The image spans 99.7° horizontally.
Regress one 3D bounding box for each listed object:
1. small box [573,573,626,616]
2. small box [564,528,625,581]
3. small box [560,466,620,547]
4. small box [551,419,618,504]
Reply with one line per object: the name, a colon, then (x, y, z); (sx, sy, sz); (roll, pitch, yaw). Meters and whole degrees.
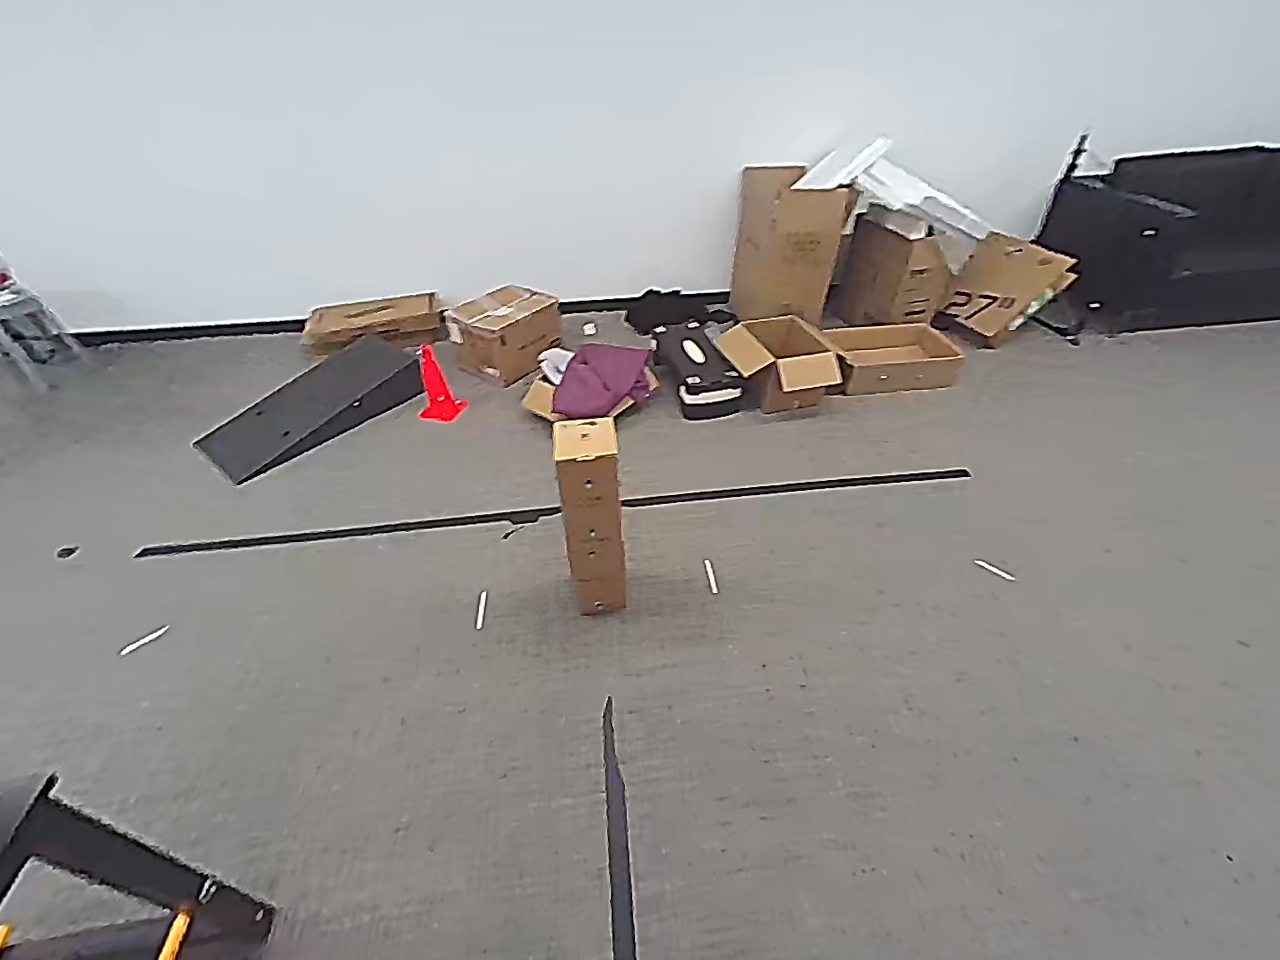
small box: (-0.142, 0.329, 1.826); (0.168, 0.176, 0.179); (-9, 43, -8)
small box: (-0.146, 0.204, 1.719); (0.179, 0.176, 0.168); (-6, 41, -5)
small box: (-0.146, 0.077, 1.614); (0.168, 0.176, 0.179); (-4, 41, -2)
small box: (-0.153, -0.045, 1.505); (0.168, 0.176, 0.179); (-6, 42, -4)
